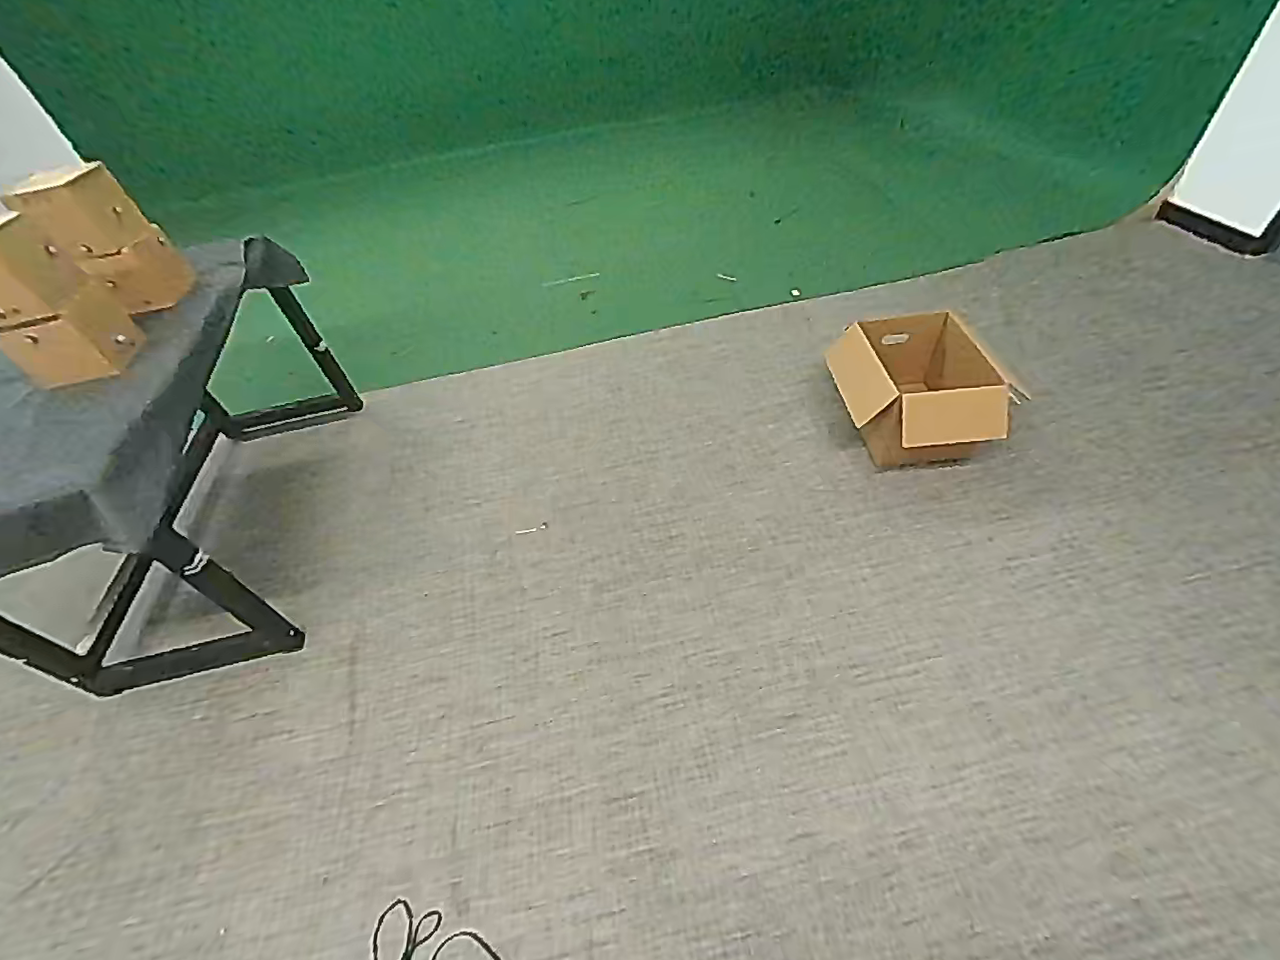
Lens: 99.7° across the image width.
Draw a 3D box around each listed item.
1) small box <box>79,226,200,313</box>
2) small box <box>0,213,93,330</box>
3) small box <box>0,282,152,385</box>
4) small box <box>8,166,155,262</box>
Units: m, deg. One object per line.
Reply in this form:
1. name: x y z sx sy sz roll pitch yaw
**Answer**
1. small box: -1.417 -0.592 1.542 0.168 0.176 0.179 -12 47 -1
2. small box: -1.379 -0.455 1.188 0.168 0.176 0.179 -15 49 -3
3. small box: -1.362 -0.351 1.312 0.179 0.176 0.168 -13 48 -3
4. small box: -1.451 -0.698 1.415 0.168 0.176 0.179 -9 47 2
